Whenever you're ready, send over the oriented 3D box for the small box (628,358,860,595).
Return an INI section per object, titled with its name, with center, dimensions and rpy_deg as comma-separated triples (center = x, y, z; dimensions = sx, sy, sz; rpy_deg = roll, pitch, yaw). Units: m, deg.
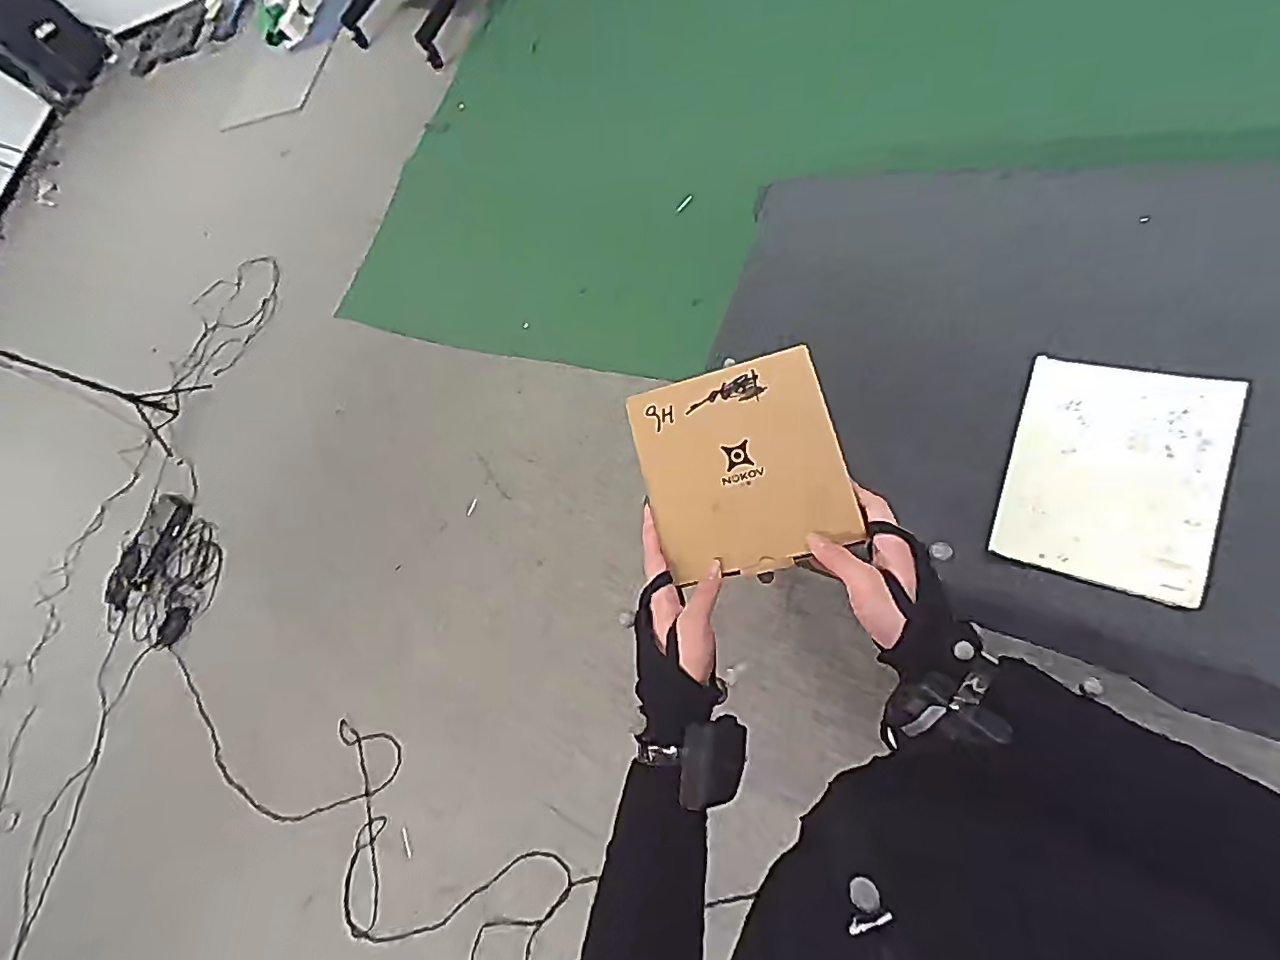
[small box]
center = 0.099, 0.005, 0.539
dimensions = 0.168, 0.176, 0.179
rpy_deg = -15, 80, 8
